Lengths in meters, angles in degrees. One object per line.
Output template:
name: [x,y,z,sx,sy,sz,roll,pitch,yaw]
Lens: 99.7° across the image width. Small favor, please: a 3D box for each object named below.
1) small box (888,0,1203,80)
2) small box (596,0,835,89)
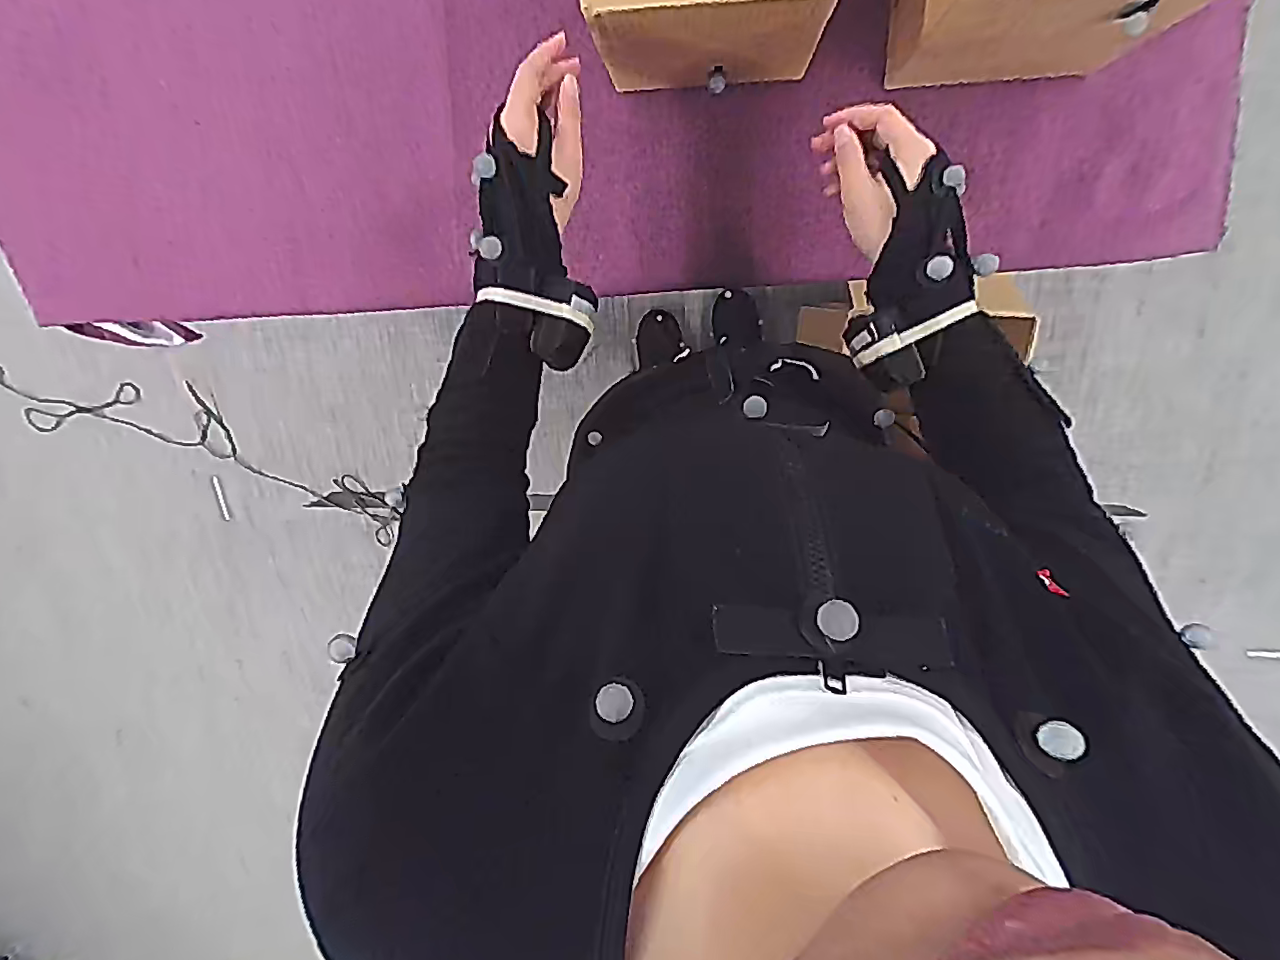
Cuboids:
small box: [0.300,-0.411,0.381,0.179,0.176,0.168,1,108,7]
small box: [0.056,-0.425,0.407,0.179,0.176,0.168,1,109,8]
